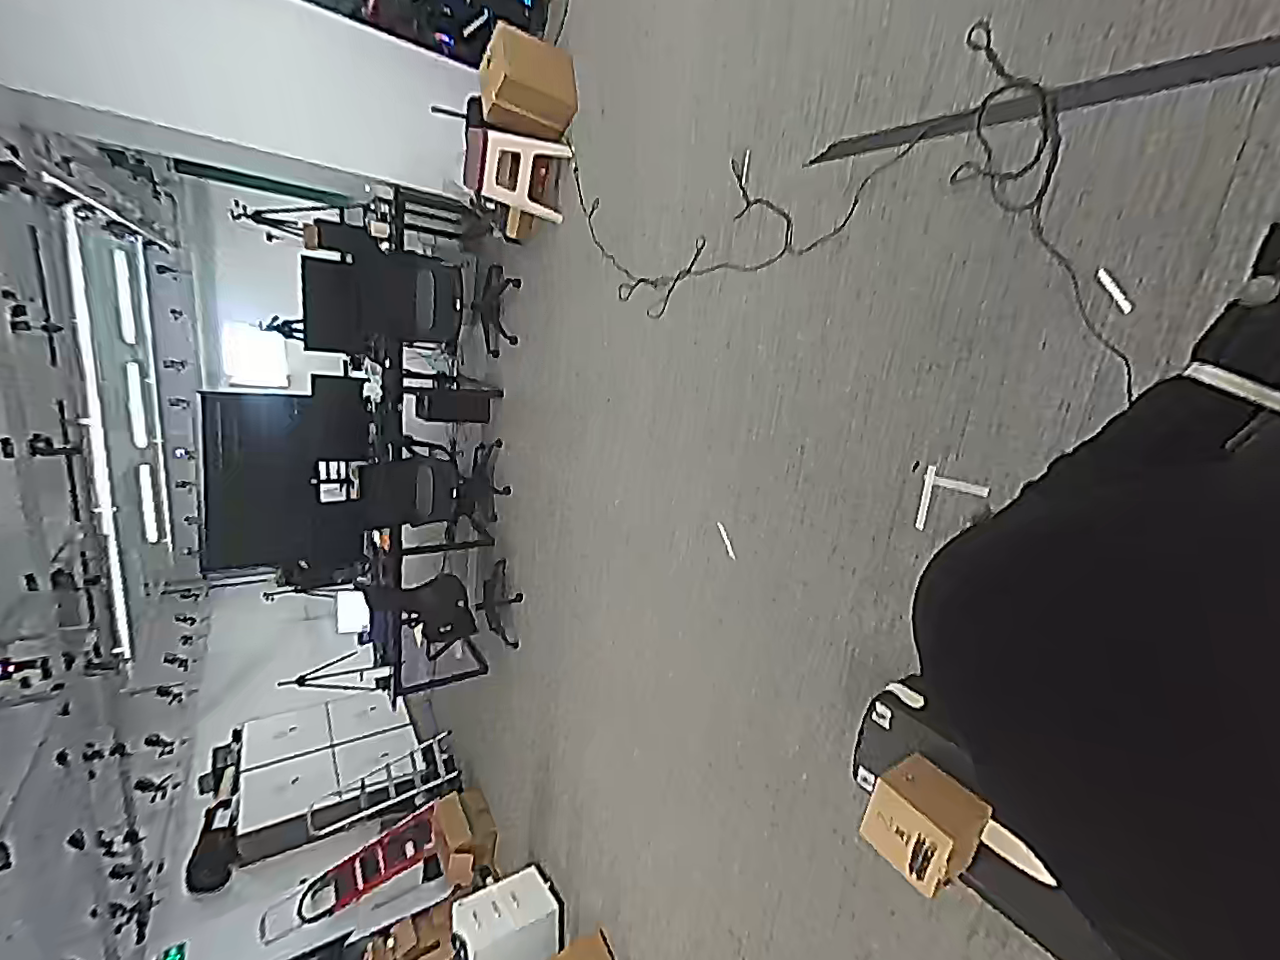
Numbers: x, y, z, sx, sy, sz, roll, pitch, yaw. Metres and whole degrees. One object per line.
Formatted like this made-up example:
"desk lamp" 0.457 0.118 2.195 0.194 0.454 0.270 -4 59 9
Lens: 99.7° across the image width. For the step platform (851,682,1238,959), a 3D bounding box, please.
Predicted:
"step platform" 0.823 0.772 1.220 0.684 0.204 0.286 25 113 52
